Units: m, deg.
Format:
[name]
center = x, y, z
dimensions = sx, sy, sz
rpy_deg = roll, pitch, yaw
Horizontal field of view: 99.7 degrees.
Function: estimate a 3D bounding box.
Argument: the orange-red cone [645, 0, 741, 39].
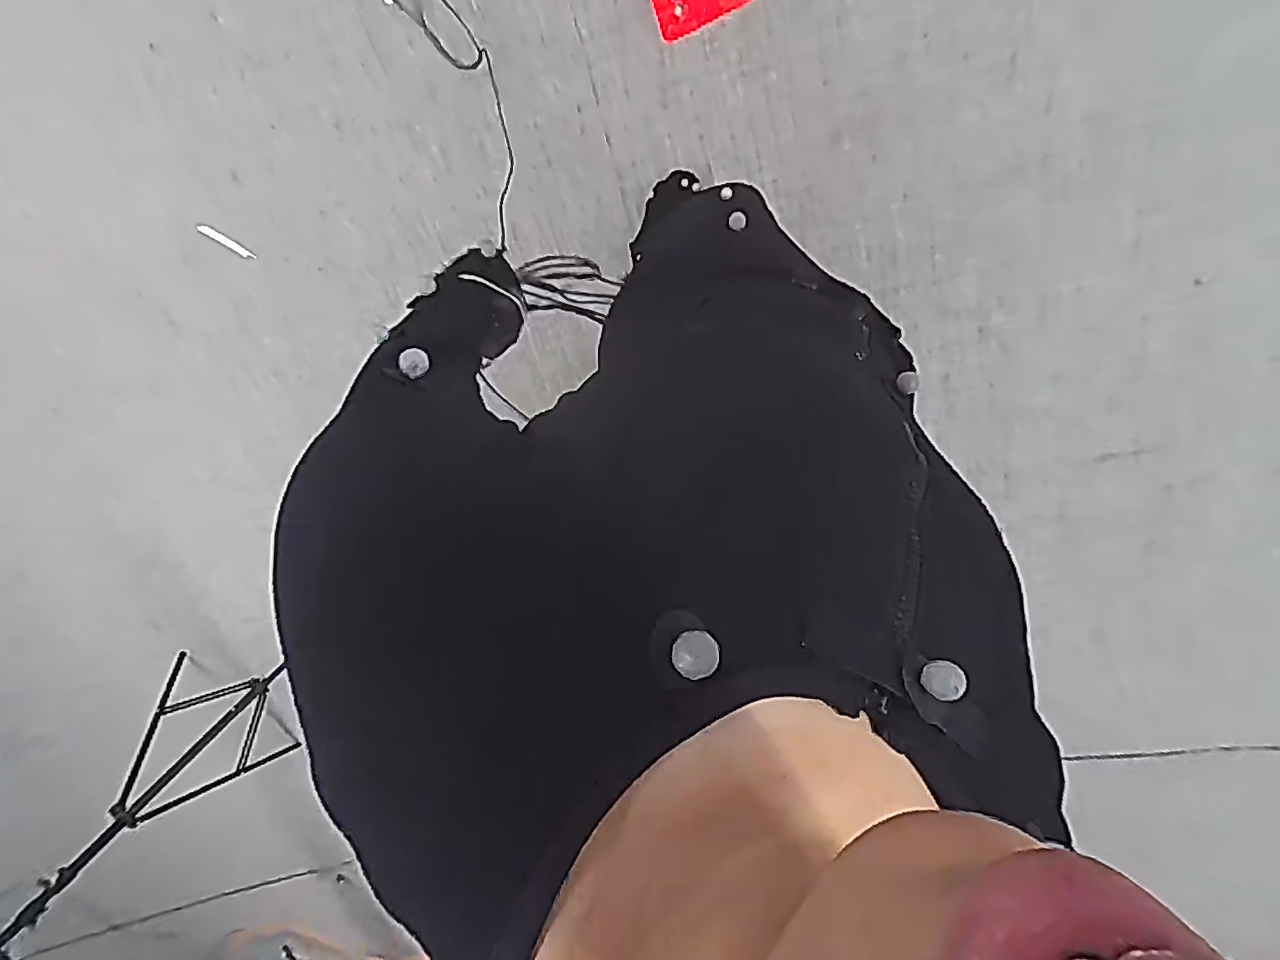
[orange-red cone]
center = 0.069, -0.932, 0.895
dimensions = 0.199, 0.360, 0.198
rpy_deg = -16, 112, 15
